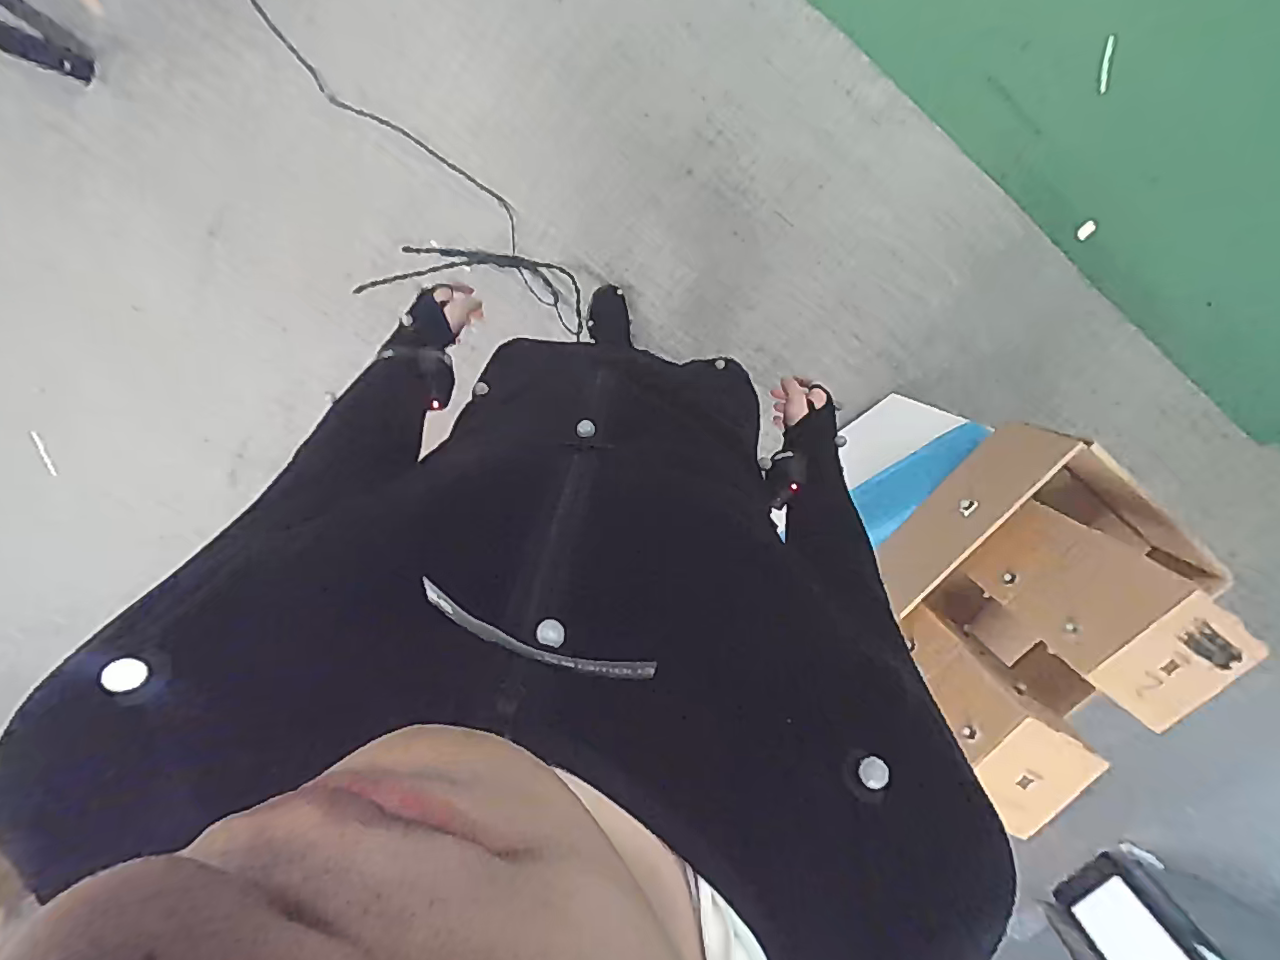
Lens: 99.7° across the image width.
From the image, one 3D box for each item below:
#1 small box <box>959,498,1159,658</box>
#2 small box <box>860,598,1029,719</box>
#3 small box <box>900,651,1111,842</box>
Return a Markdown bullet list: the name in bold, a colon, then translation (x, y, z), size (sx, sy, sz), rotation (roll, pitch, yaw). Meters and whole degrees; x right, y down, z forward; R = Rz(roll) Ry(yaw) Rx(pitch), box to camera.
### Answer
- **small box**: translation (0.706, 0.160, 0.934), size (0.168, 0.176, 0.179), rotation (35, 107, -12)
- **small box**: translation (0.544, 0.351, 0.996), size (0.168, 0.176, 0.179), rotation (33, 105, -11)
- **small box**: translation (0.548, 0.403, 0.841), size (0.168, 0.176, 0.179), rotation (32, 106, -10)
